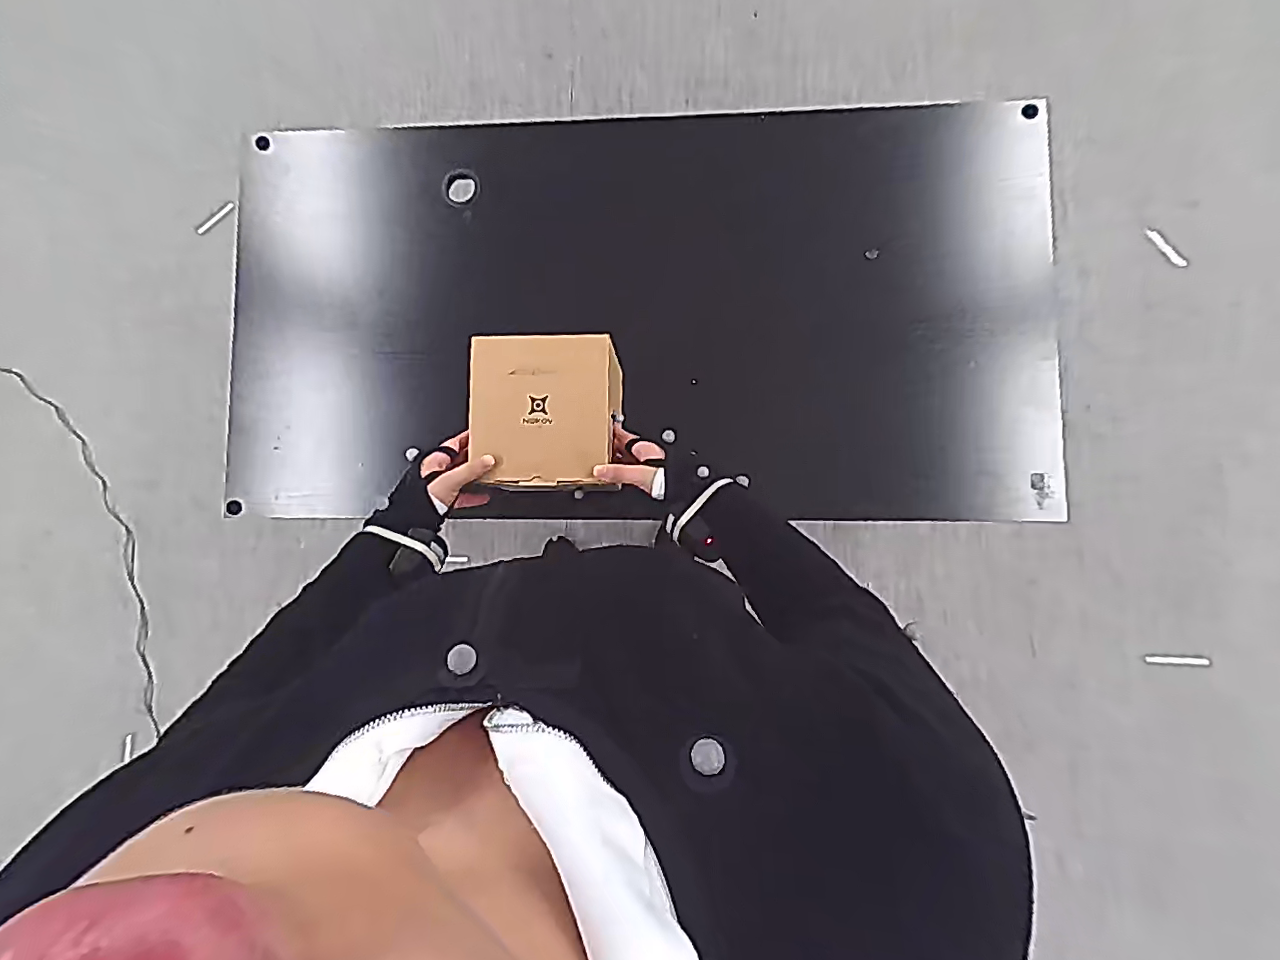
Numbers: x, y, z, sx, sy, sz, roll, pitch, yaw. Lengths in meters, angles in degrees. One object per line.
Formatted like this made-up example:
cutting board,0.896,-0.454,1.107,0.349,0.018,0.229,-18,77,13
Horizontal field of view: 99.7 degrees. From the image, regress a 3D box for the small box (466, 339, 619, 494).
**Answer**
small box,-0.115,-0.072,0.702,0.168,0.176,0.179,0,86,2
